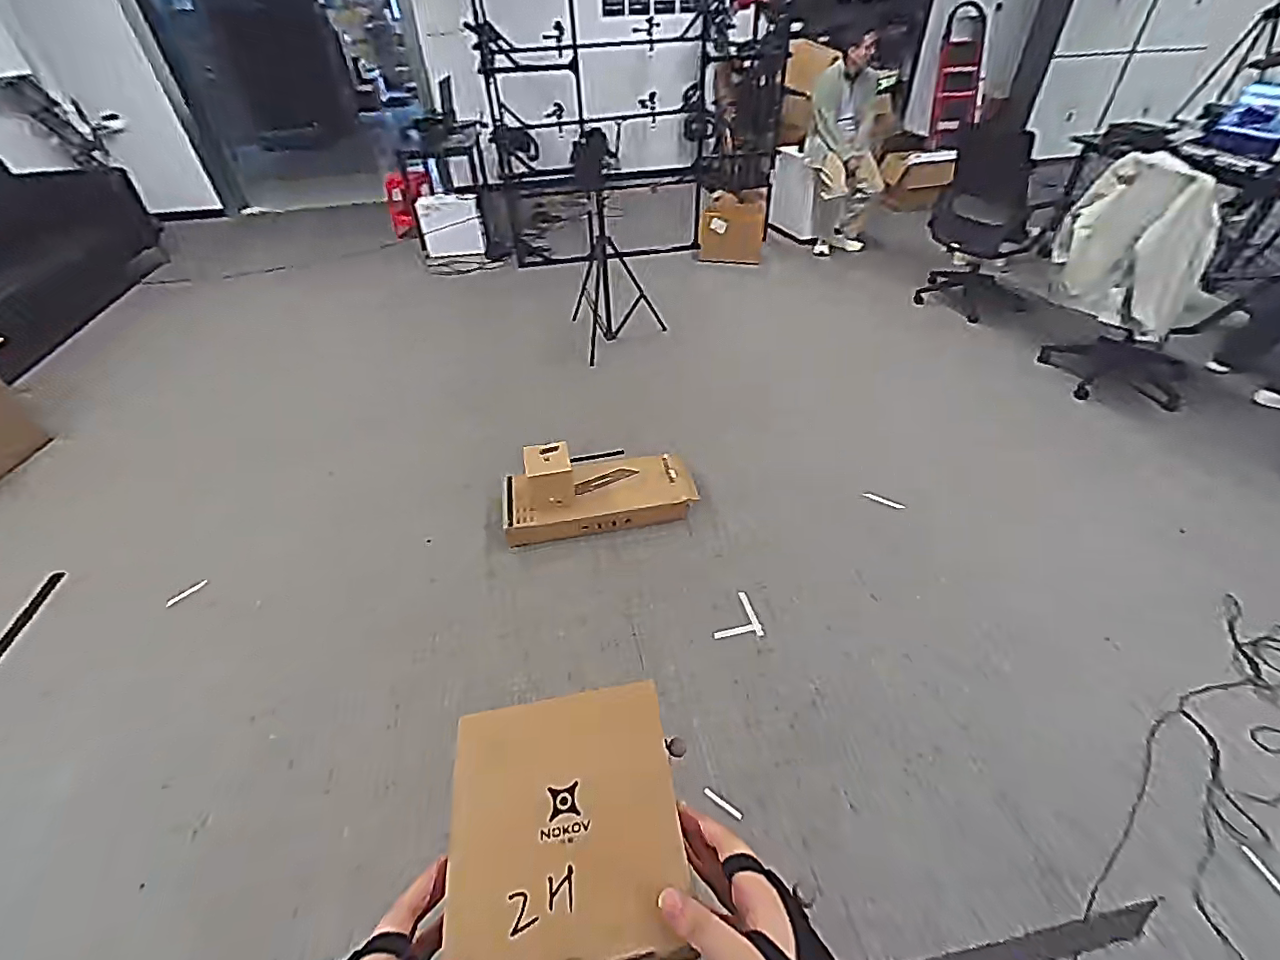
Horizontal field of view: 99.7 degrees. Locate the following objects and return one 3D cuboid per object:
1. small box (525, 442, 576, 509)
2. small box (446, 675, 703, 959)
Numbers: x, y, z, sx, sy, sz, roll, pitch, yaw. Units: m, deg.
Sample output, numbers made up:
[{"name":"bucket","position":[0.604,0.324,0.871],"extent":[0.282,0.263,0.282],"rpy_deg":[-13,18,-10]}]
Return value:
[{"name":"small box","position":[-0.340,-0.017,2.048],"extent":[0.168,0.176,0.179],"rpy_deg":[-10,43,-8]},{"name":"small box","position":[-0.048,0.295,0.455],"extent":[0.168,0.176,0.179],"rpy_deg":[-10,46,-3]}]
